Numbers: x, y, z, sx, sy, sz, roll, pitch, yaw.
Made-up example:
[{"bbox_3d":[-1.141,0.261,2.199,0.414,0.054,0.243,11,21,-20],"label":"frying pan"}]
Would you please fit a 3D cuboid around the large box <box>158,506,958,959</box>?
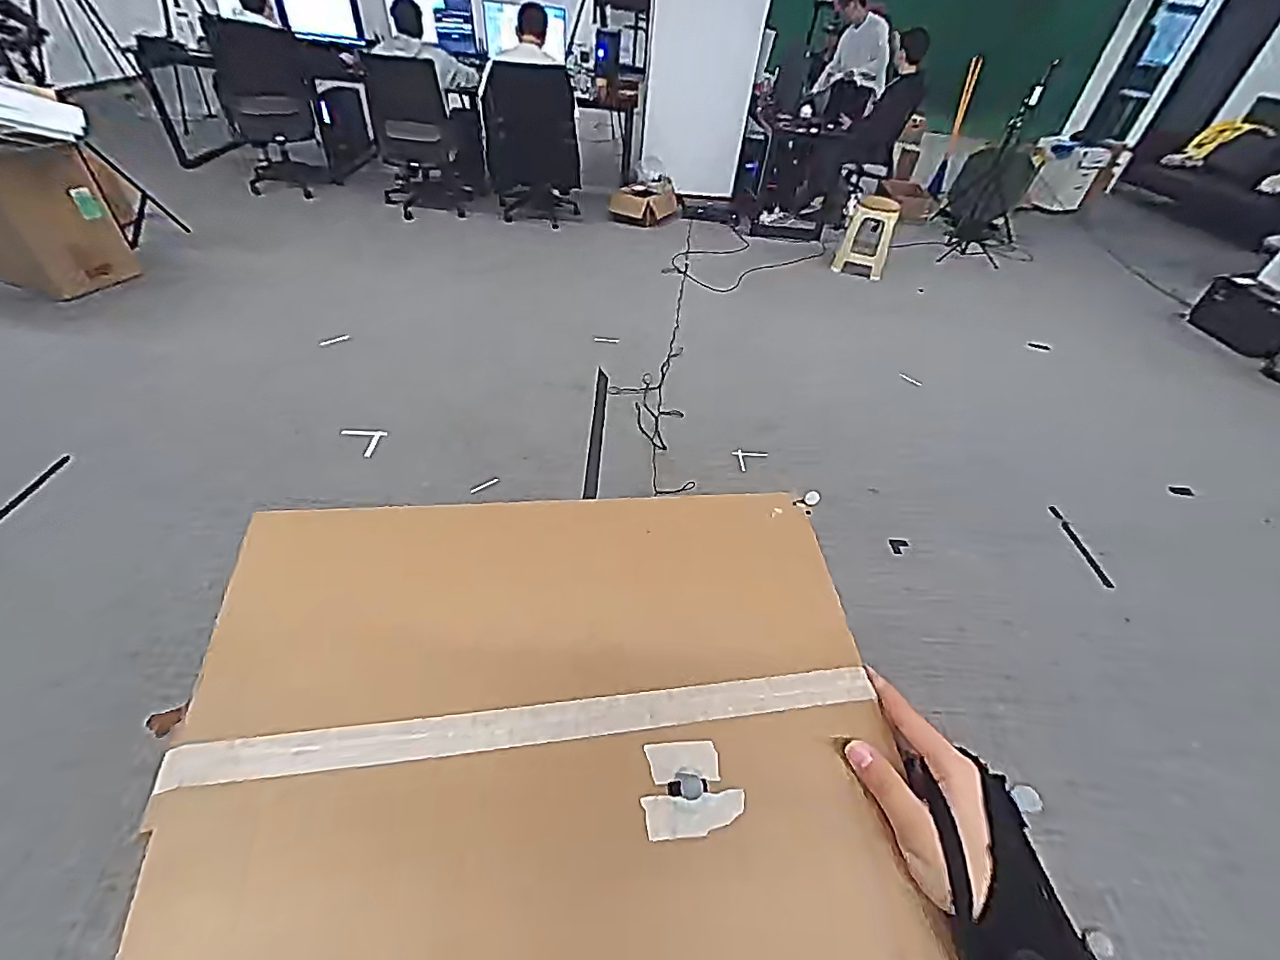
[{"bbox_3d":[-0.064,0.238,0.452,0.408,0.320,0.320,-1,56,-12],"label":"large box"}]
